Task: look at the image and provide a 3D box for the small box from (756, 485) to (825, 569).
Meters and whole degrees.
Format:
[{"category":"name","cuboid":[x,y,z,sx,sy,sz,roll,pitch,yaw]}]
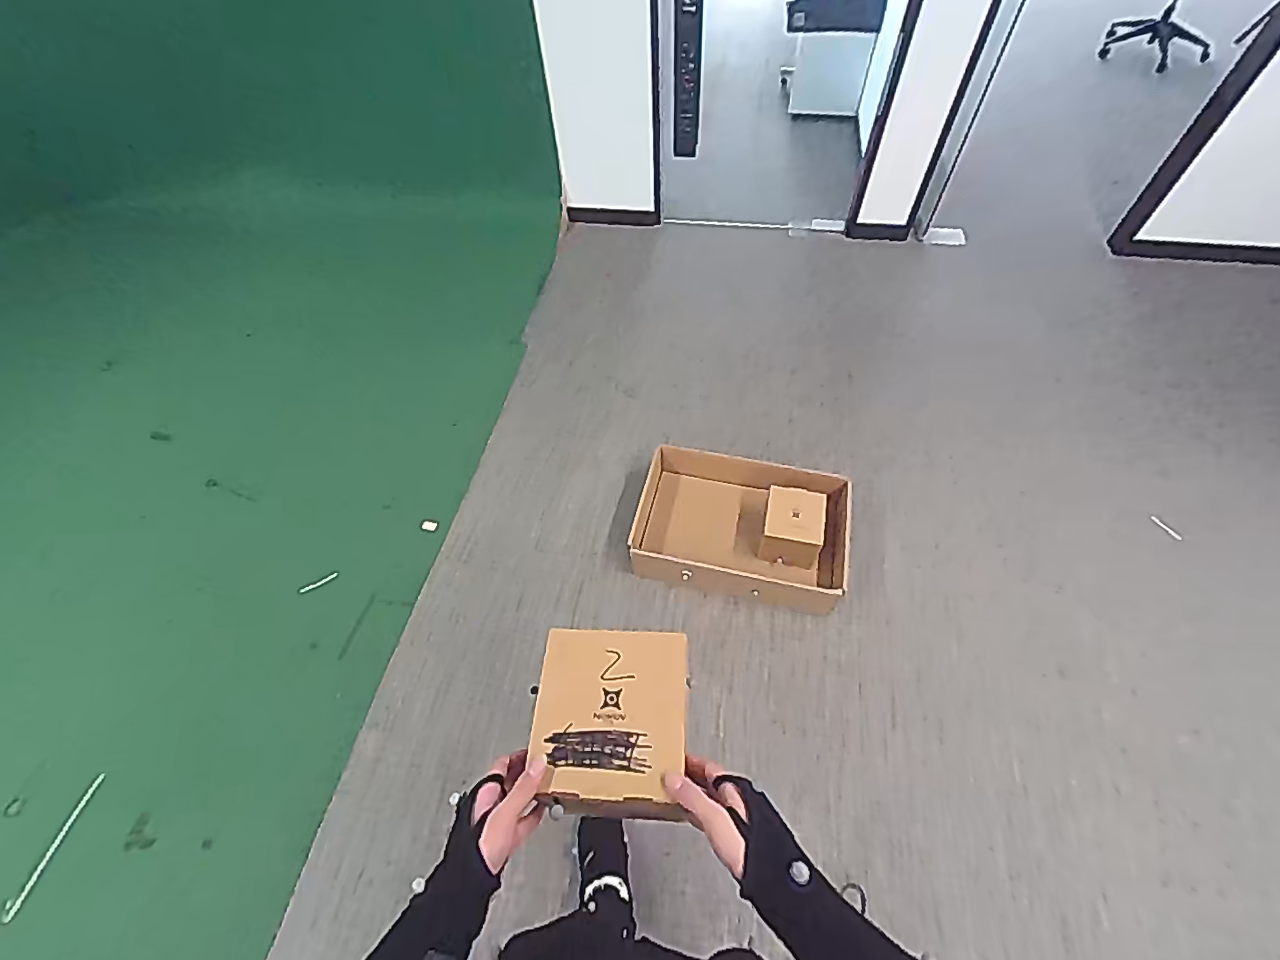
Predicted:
[{"category":"small box","cuboid":[0.449,0.143,1.623,0.168,0.176,0.179,10,57,11]}]
